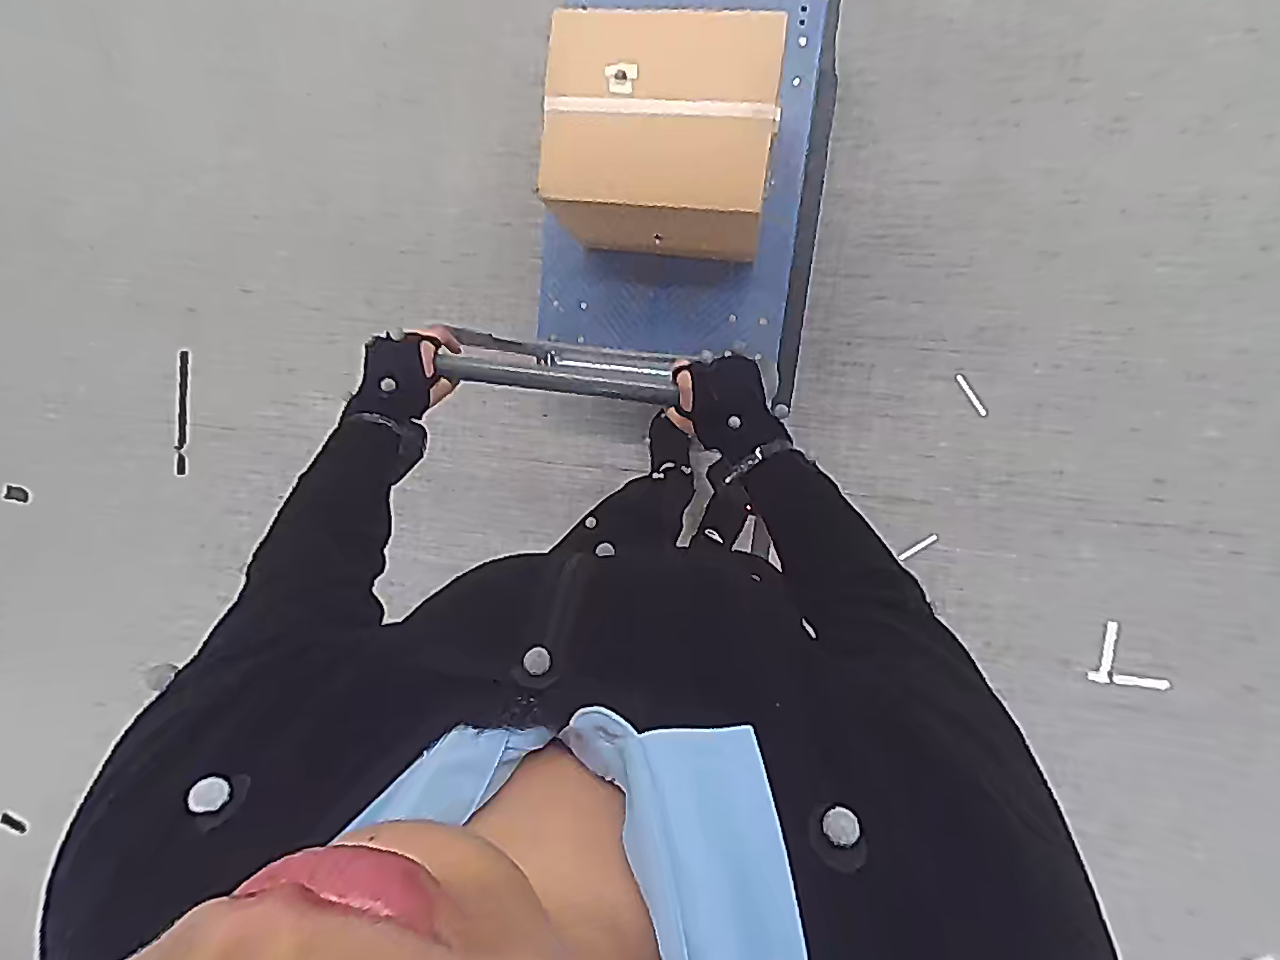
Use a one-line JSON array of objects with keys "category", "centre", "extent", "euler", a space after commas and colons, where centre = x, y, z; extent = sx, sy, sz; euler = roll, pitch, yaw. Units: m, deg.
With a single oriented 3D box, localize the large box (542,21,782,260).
[{"category": "large box", "centre": [0.057, -0.650, 1.091], "extent": [0.408, 0.320, 0.320], "euler": [8, 97, 10]}]
